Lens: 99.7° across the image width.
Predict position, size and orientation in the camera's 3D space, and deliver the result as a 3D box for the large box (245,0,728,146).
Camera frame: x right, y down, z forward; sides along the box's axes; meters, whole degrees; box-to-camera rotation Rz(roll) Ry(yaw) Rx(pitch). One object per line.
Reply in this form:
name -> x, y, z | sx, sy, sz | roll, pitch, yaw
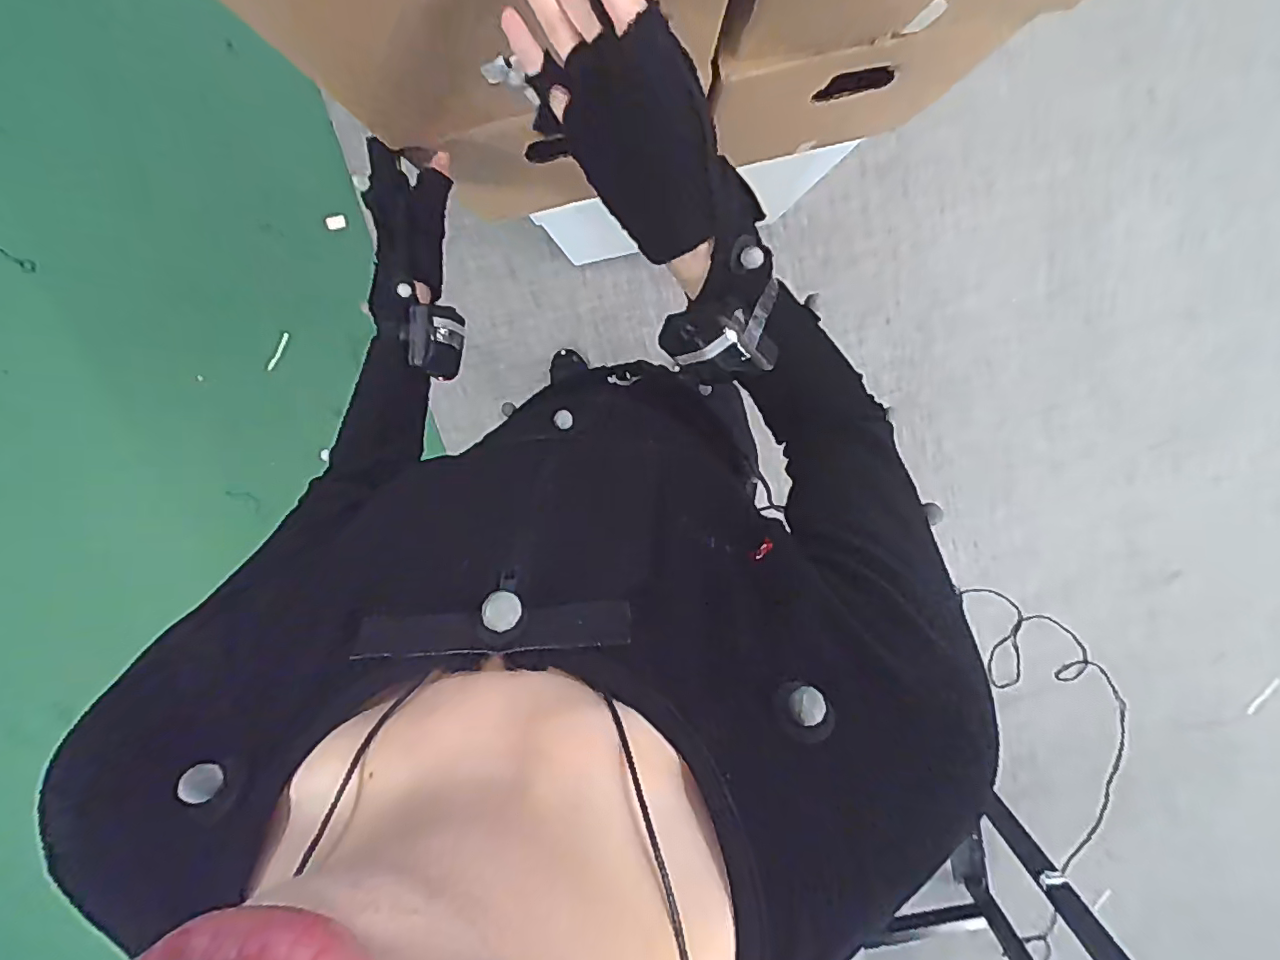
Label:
large box -> -0.125, -0.498, 0.309 | 0.320, 0.320, 0.408 | -14, 101, 2
